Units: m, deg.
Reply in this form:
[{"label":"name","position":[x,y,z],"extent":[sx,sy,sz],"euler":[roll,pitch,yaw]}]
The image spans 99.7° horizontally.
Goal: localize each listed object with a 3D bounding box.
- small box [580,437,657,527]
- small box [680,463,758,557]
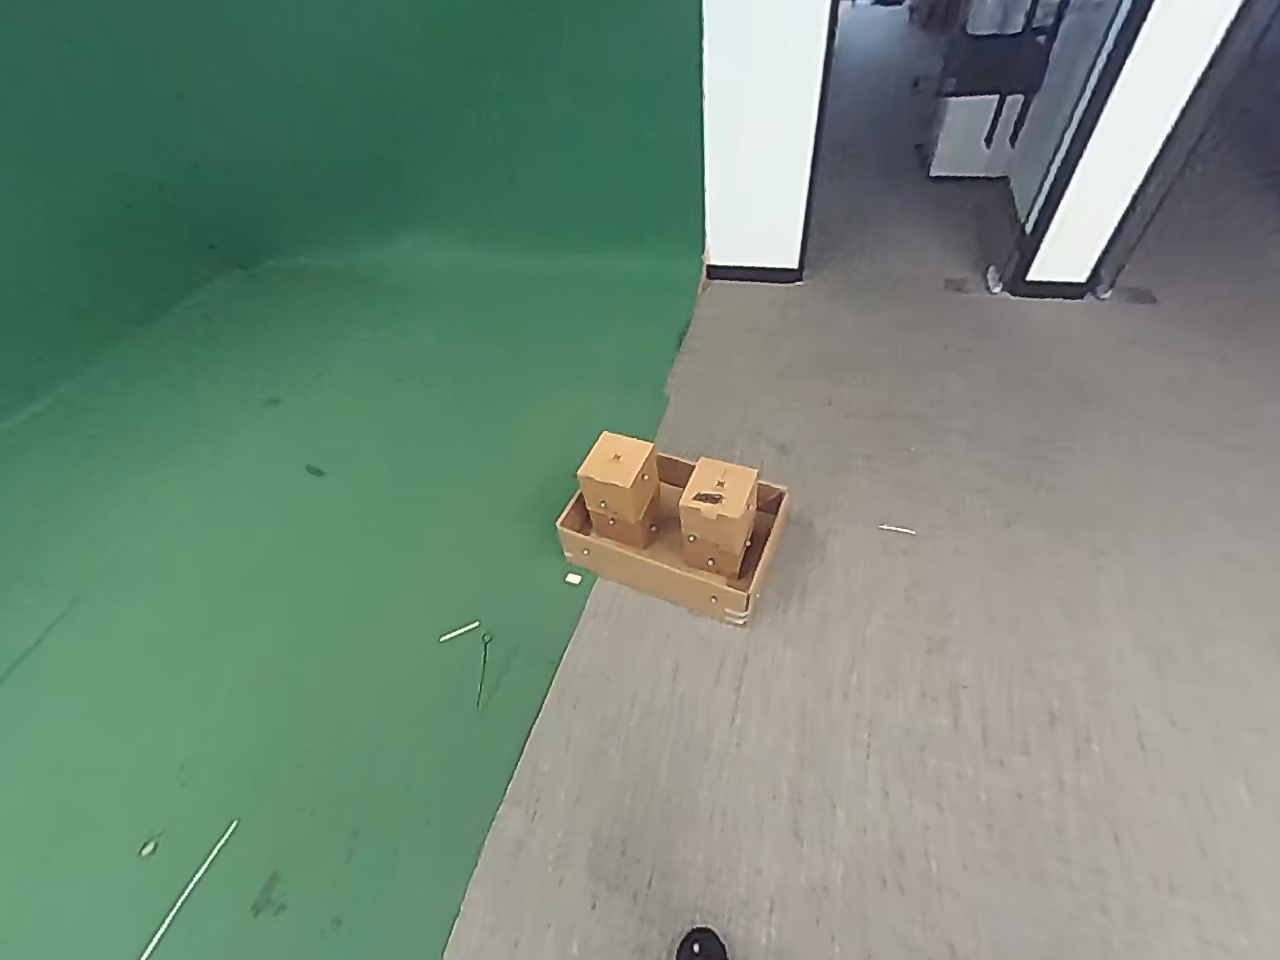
[{"label":"small box","position":[-0.056,0.006,1.593],"extent":[0.168,0.176,0.179],"euler":[16,55,20]},{"label":"small box","position":[0.220,0.085,1.482],"extent":[0.168,0.176,0.179],"euler":[14,53,20]}]
